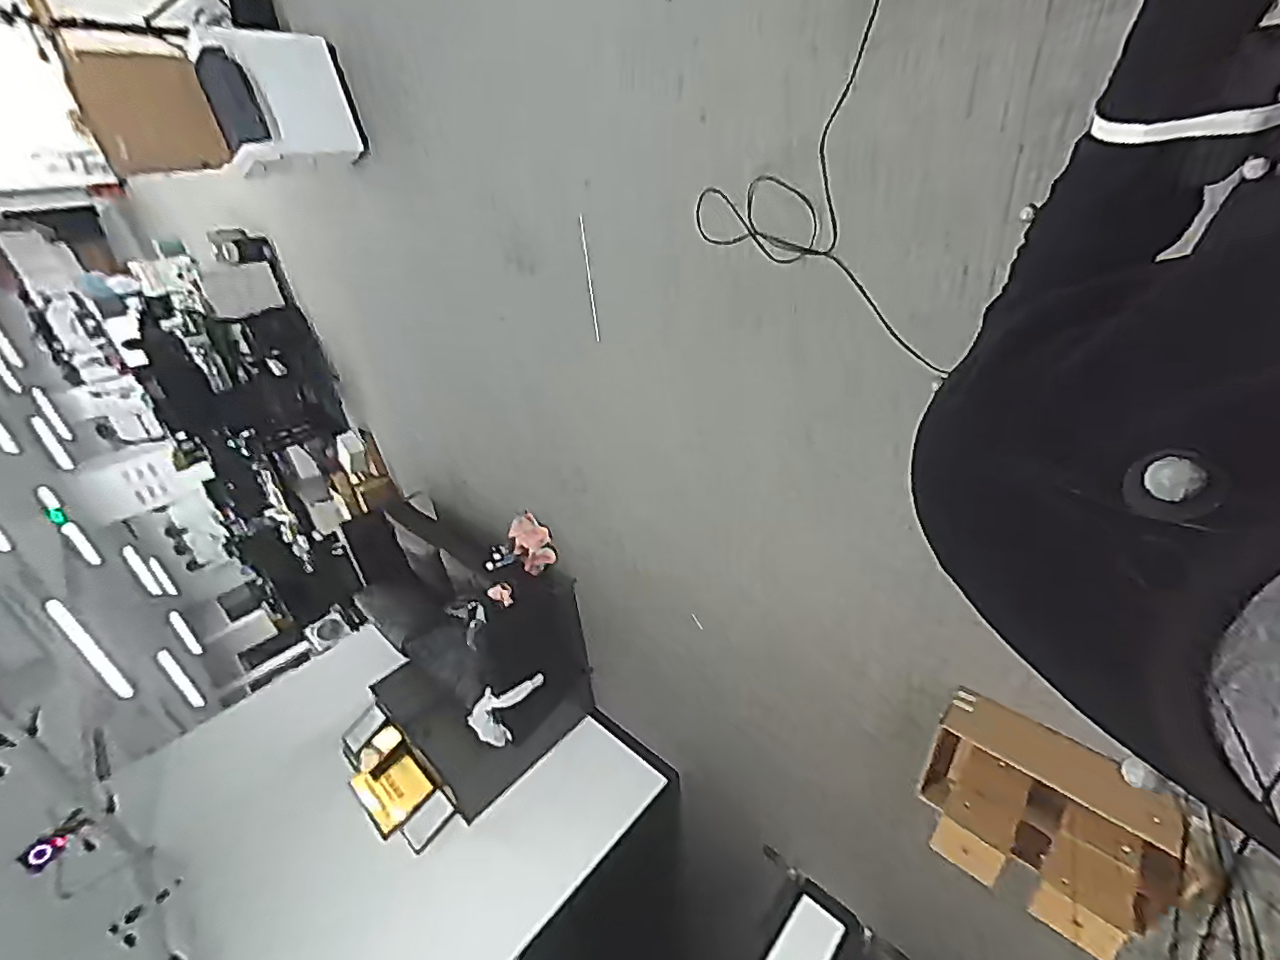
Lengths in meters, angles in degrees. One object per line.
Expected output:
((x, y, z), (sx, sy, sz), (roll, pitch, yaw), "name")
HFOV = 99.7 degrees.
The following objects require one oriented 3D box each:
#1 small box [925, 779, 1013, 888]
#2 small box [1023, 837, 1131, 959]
((0.968, 1.027, 1.586), (0.168, 0.176, 0.179), (23, 130, 38), "small box")
((1.152, 1.100, 1.425), (0.179, 0.176, 0.168), (22, 129, 40), "small box")
